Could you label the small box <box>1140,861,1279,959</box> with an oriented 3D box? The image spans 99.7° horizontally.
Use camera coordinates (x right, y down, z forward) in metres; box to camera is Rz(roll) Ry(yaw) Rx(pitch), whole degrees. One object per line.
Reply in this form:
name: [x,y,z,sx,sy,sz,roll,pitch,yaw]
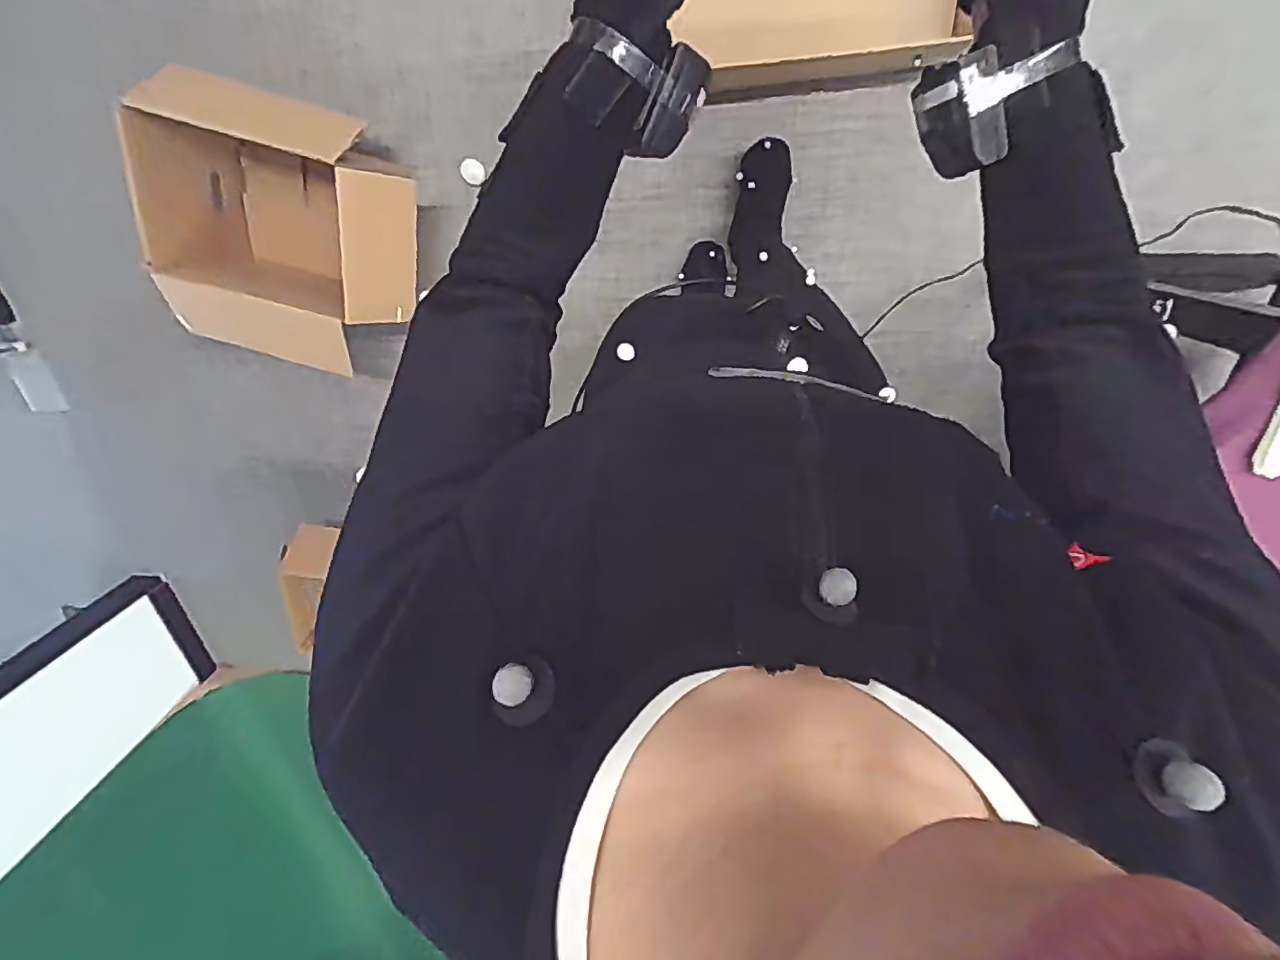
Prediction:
small box: [1.051,0.765,0.945,0.179,0.176,0.168,9,119,3]
